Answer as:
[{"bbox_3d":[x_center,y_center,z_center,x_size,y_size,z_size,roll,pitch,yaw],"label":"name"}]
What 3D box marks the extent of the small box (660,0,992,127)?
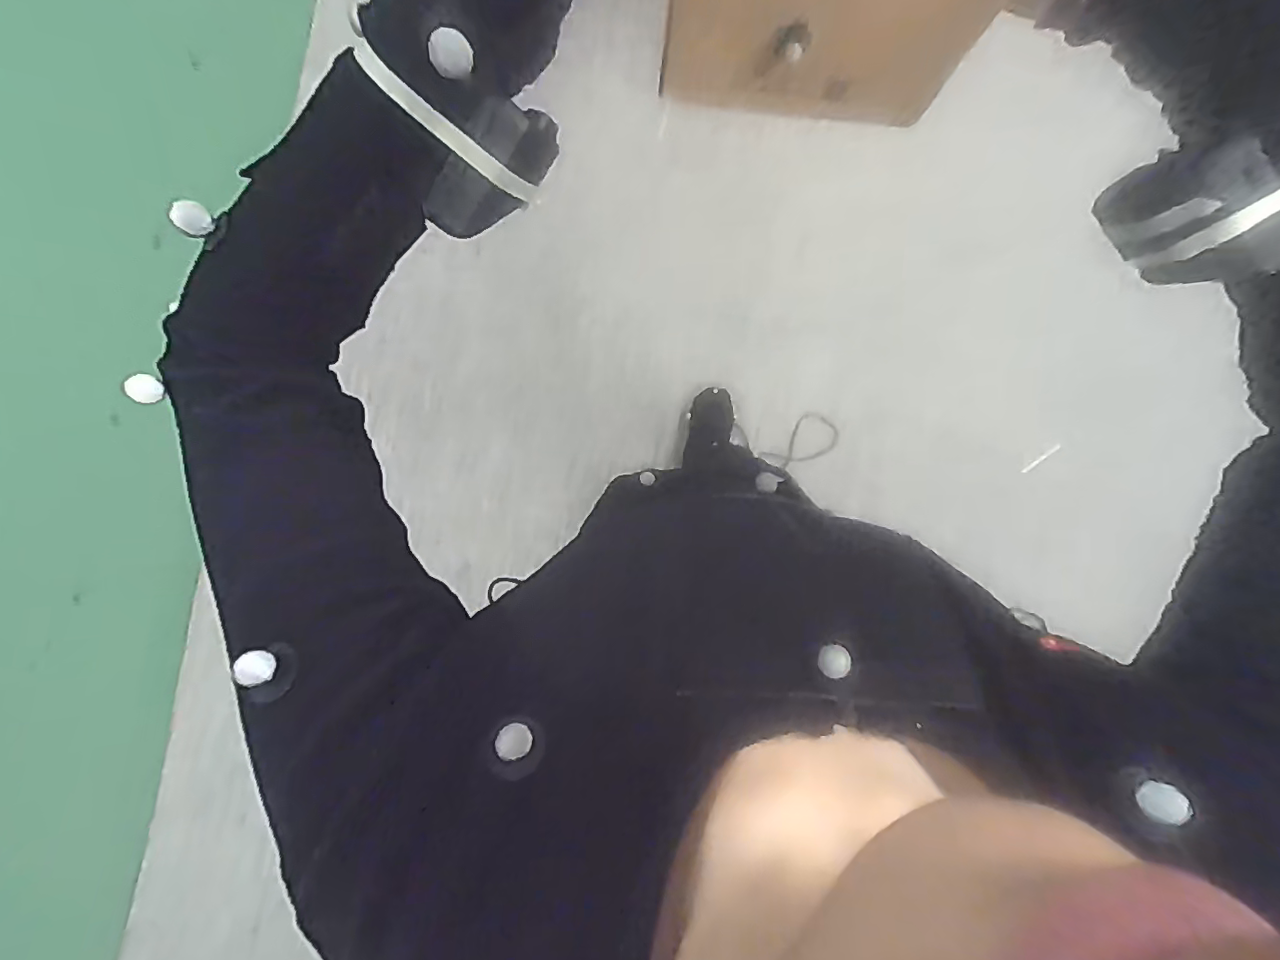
[{"bbox_3d":[0.100,-0.325,0.273,0.168,0.176,0.179,4,87,-1],"label":"small box"}]
